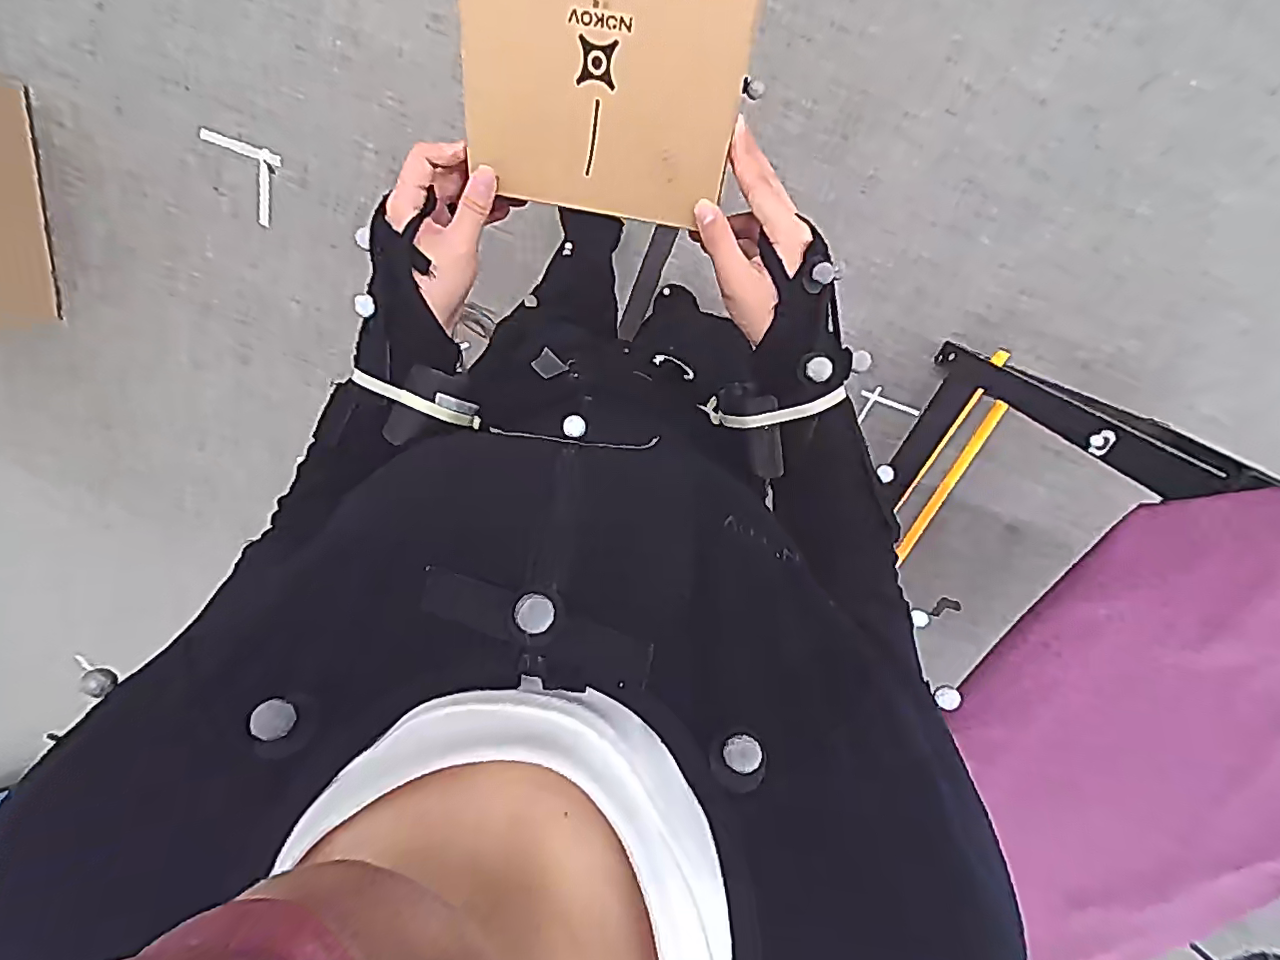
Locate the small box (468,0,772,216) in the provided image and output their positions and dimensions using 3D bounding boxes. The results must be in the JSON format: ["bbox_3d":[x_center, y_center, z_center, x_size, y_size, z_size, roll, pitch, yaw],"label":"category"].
[{"bbox_3d":[-0.003,-0.298,0.359,0.168,0.176,0.179,12,127,2],"label":"small box"}]
